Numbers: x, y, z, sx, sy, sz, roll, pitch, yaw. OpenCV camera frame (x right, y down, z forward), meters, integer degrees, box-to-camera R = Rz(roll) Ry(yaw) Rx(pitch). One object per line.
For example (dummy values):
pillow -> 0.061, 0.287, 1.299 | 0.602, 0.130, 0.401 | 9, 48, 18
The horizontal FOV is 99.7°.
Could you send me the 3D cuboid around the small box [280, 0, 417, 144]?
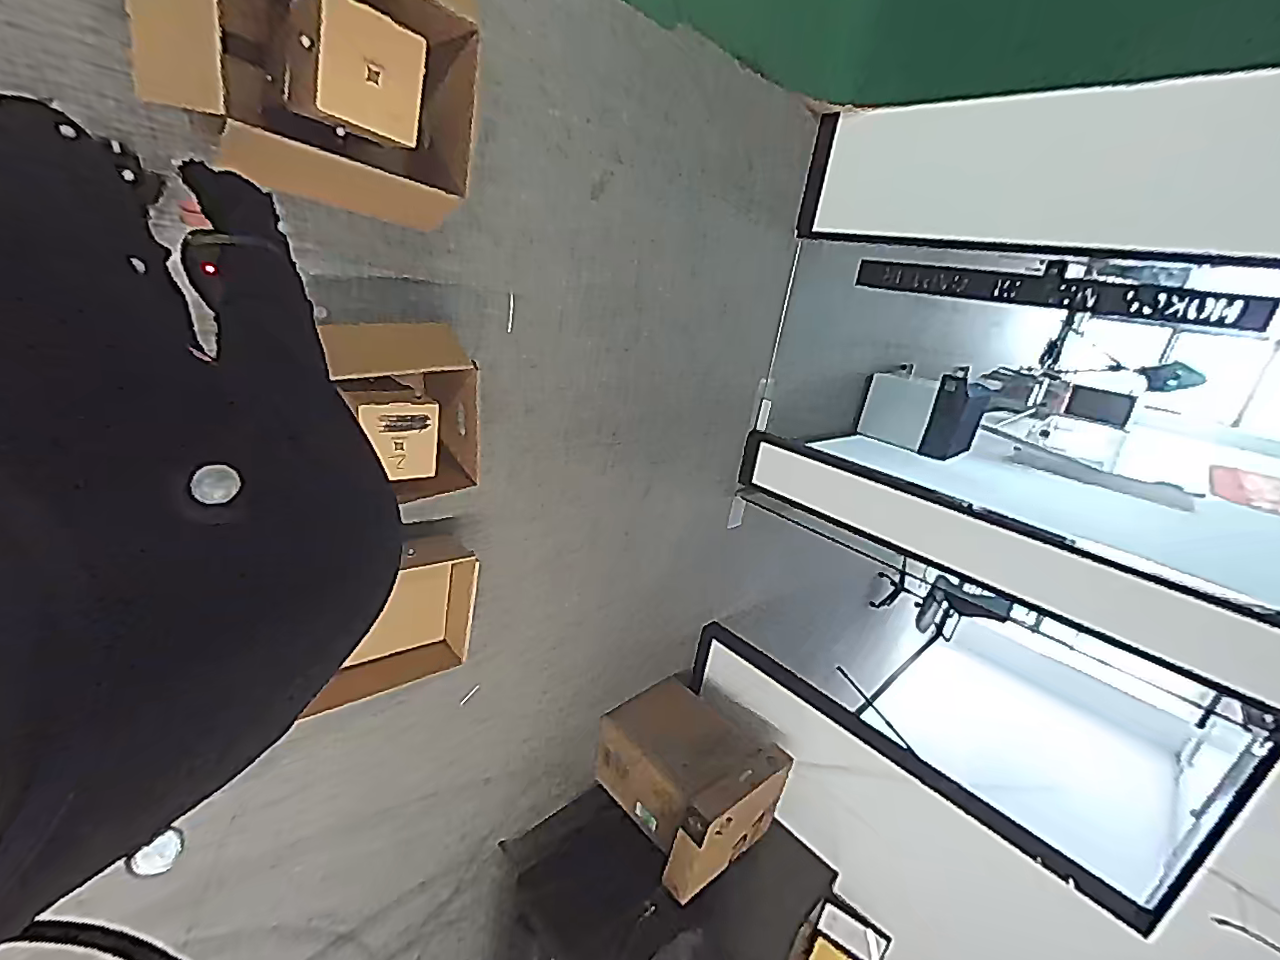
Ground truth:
small box -> -0.522, -0.724, 0.962 | 0.168, 0.176, 0.179 | -5, 115, -47
